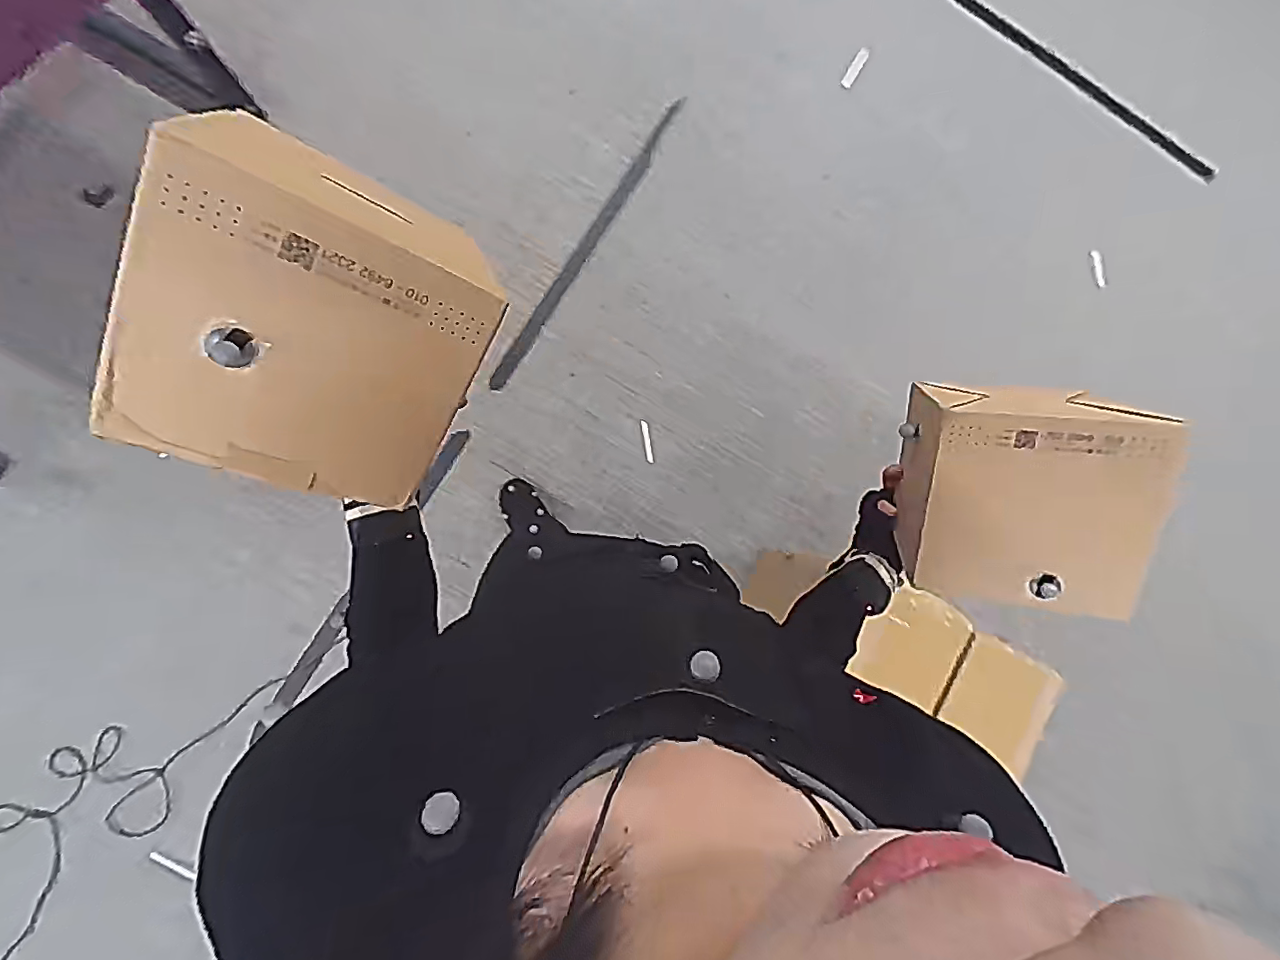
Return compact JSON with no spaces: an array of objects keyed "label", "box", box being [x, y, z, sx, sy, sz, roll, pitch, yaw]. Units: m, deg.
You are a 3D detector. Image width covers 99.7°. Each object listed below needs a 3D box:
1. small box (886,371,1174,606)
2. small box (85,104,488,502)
[{"label":"small box","box":[0.340,-0.011,0.507,0.168,0.179,0.176,6,110,18]},{"label":"small box","box":[-0.217,-0.117,0.362,0.168,0.179,0.176,20,114,-33]}]
